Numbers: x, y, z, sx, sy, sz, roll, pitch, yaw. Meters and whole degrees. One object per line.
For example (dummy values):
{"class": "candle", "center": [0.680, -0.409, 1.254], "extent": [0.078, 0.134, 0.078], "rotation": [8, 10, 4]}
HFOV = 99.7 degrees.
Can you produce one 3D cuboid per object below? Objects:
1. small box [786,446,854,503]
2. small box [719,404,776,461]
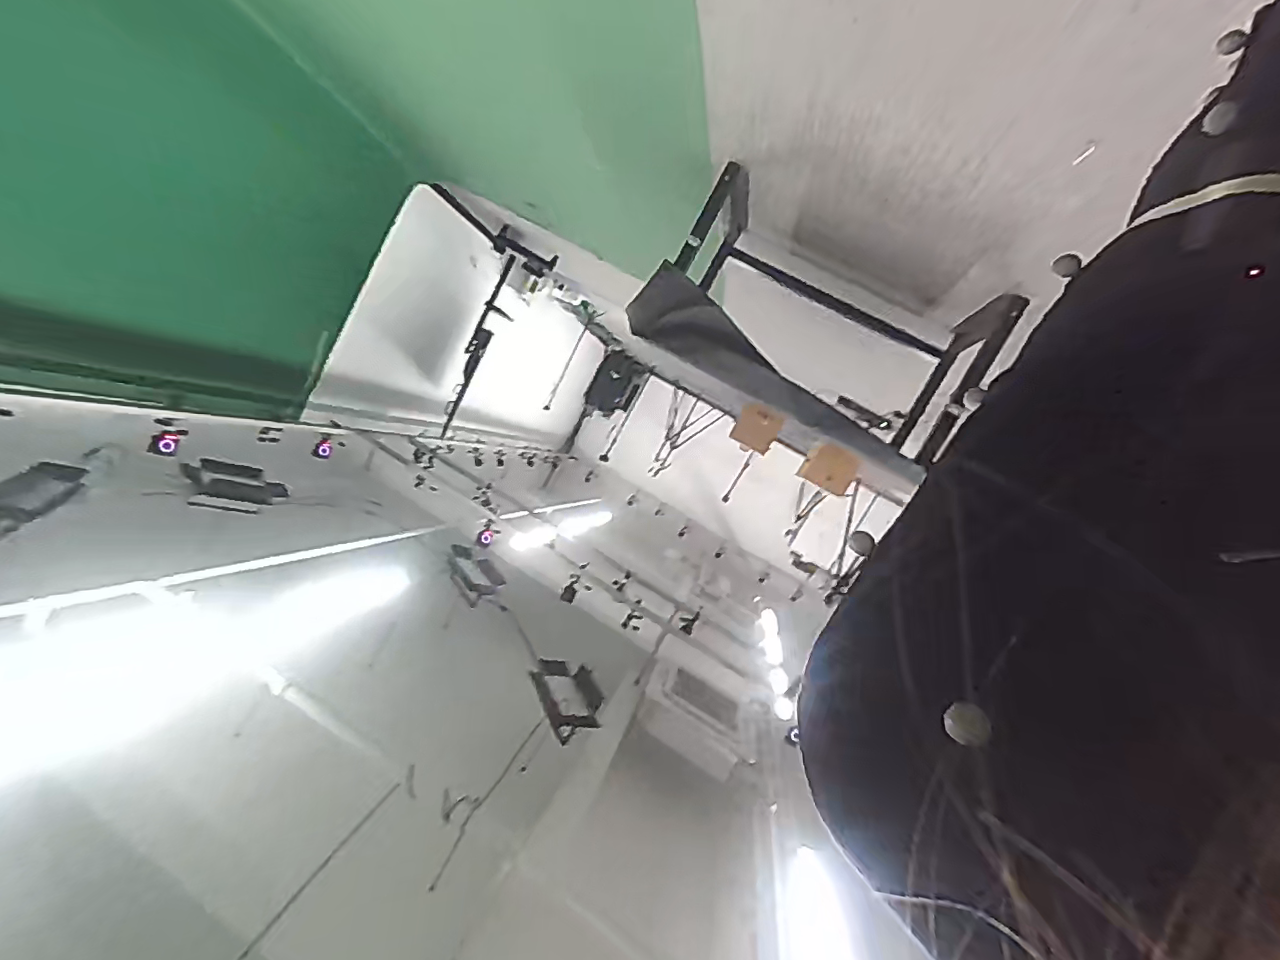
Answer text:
{"class": "small box", "center": [0.716, -0.028, 2.153], "extent": [0.179, 0.176, 0.168], "rotation": [29, -175, 2]}
{"class": "small box", "center": [0.434, -0.190, 2.185], "extent": [0.168, 0.176, 0.179], "rotation": [29, -176, 7]}
